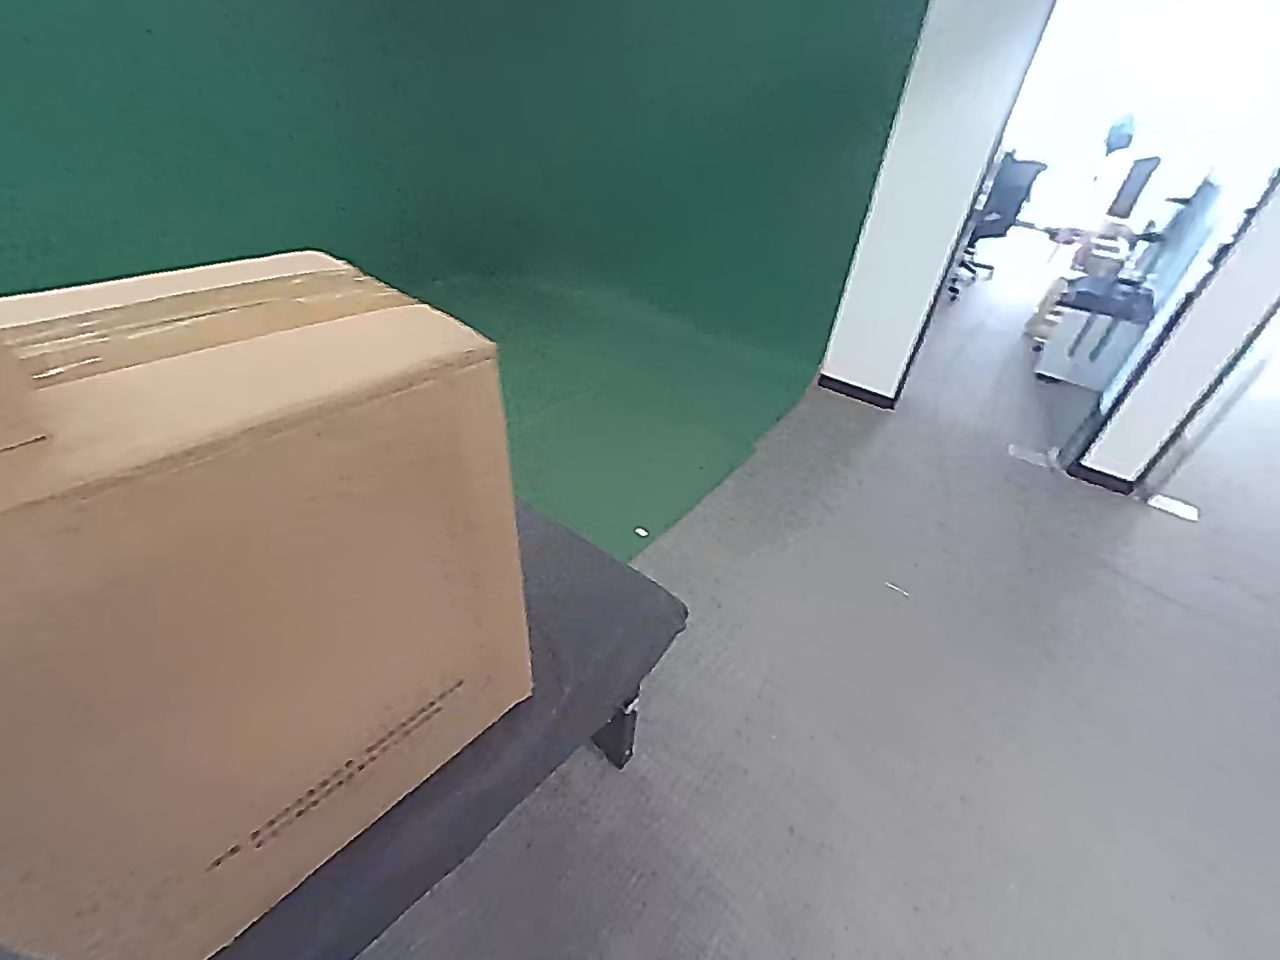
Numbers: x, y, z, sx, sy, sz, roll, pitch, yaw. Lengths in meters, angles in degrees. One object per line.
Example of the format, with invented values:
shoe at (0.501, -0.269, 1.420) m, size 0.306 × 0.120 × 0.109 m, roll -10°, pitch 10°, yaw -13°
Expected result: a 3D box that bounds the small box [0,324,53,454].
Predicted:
small box at (-0.502, -0.100, 0.306) m, size 0.179 × 0.176 × 0.168 m, roll 33°, pitch 46°, yaw 27°
